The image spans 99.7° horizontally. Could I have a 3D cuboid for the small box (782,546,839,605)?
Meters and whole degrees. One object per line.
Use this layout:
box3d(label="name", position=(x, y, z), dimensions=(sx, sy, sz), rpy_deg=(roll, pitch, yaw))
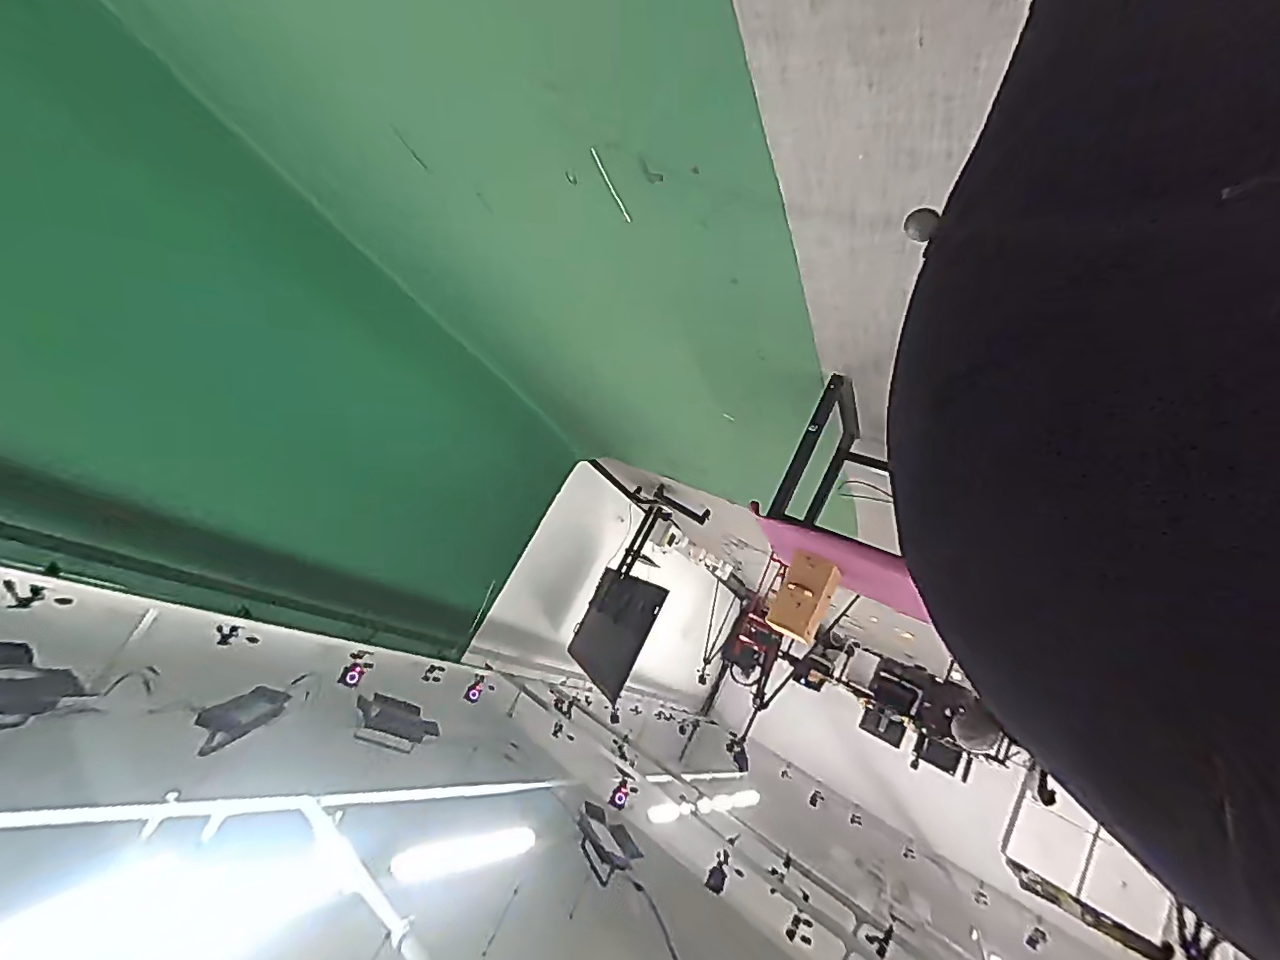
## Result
box3d(label="small box", position=(0.721, 0.402, 2.274), dimensions=(0.168, 0.176, 0.179), rpy_deg=(19, 165, 34))

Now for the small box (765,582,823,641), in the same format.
box3d(label="small box", position=(0.646, 0.544, 2.245), dimensions=(0.168, 0.176, 0.179), rpy_deg=(20, 165, 34))
